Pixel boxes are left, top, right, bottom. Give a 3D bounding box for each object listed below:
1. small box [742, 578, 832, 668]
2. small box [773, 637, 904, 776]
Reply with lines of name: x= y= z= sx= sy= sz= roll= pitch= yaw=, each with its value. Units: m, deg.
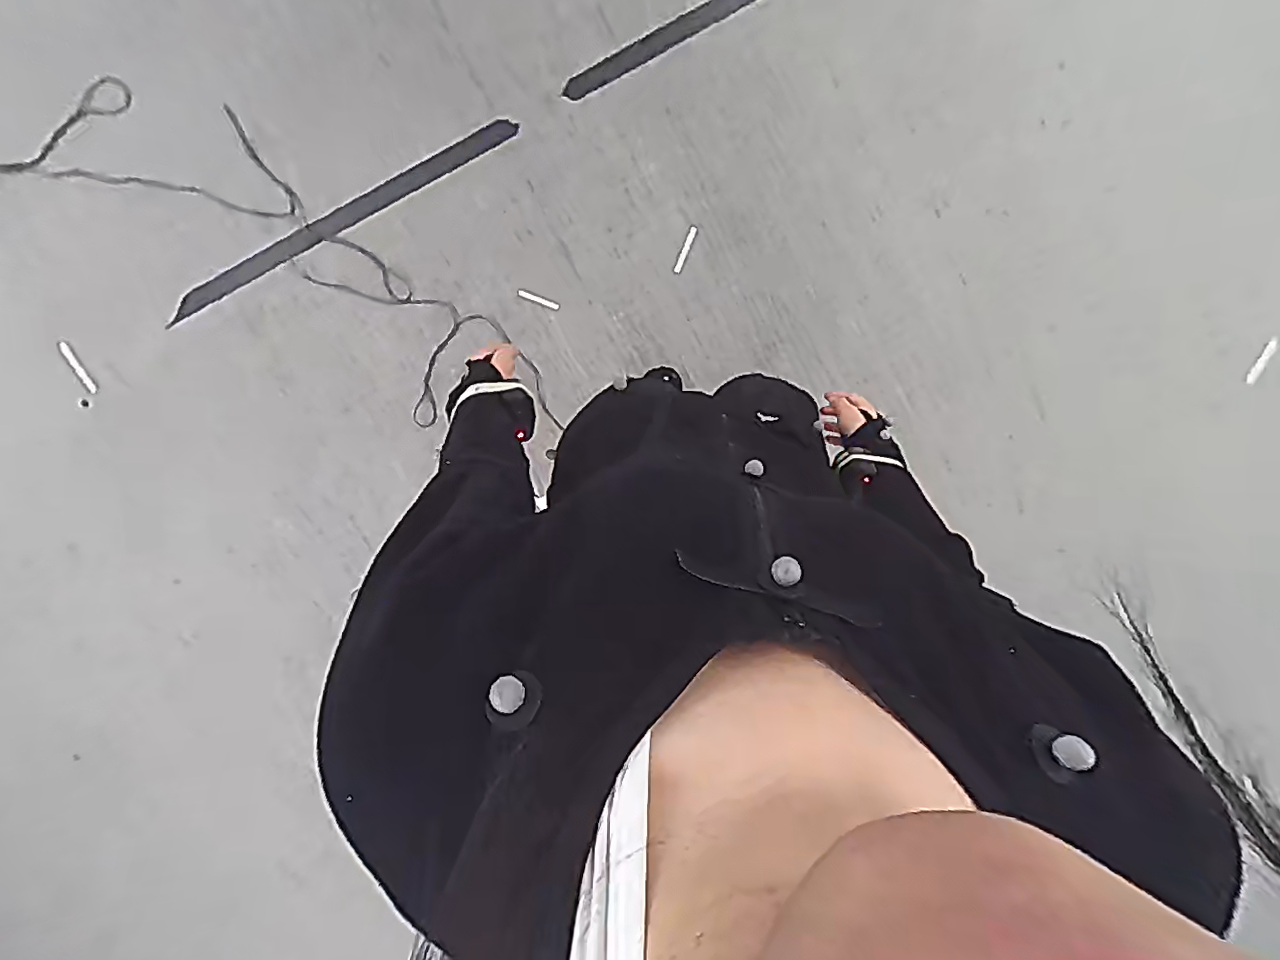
small box: x=0.402 y=0.401 z=1.473 sx=0.168 sy=0.176 sz=0.179 roll=-36 pitch=100 yaw=6
small box: x=0.413 y=0.472 z=1.151 sx=0.168 sy=0.176 sz=0.179 roll=-38 pitch=101 yaw=5
